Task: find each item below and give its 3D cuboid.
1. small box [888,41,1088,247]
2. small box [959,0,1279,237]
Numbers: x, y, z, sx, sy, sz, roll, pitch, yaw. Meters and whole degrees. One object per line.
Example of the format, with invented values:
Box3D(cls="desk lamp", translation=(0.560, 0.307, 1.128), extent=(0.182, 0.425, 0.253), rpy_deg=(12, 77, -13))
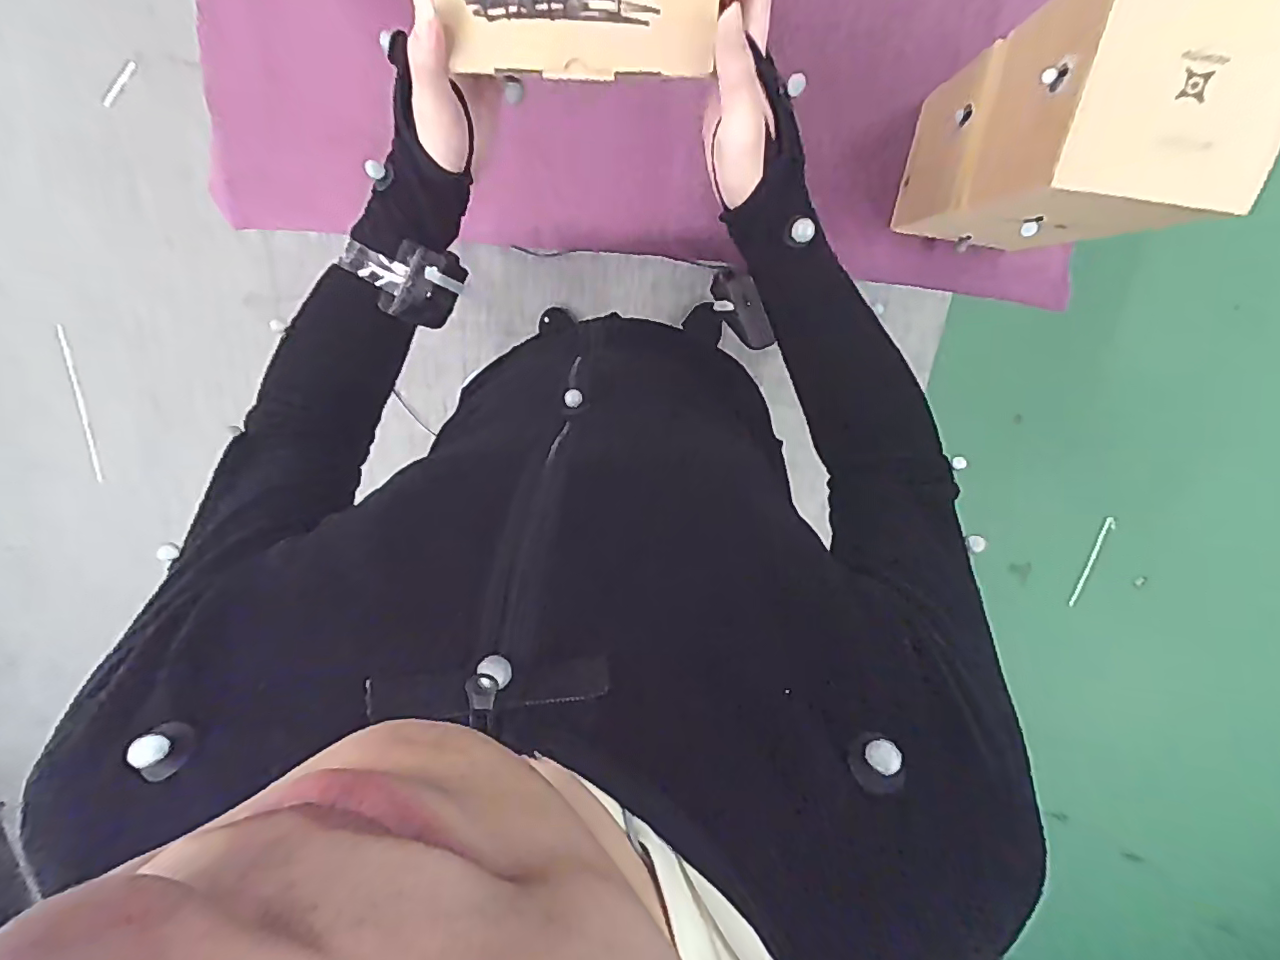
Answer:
Box3D(cls="small box", translation=(0.439, -0.389, 0.660), extent=(0.179, 0.176, 0.168), rpy_deg=(9, 108, -1))
Box3D(cls="small box", translation=(0.436, -0.340, 0.504), extent=(0.168, 0.176, 0.179), rpy_deg=(10, 109, 1))
